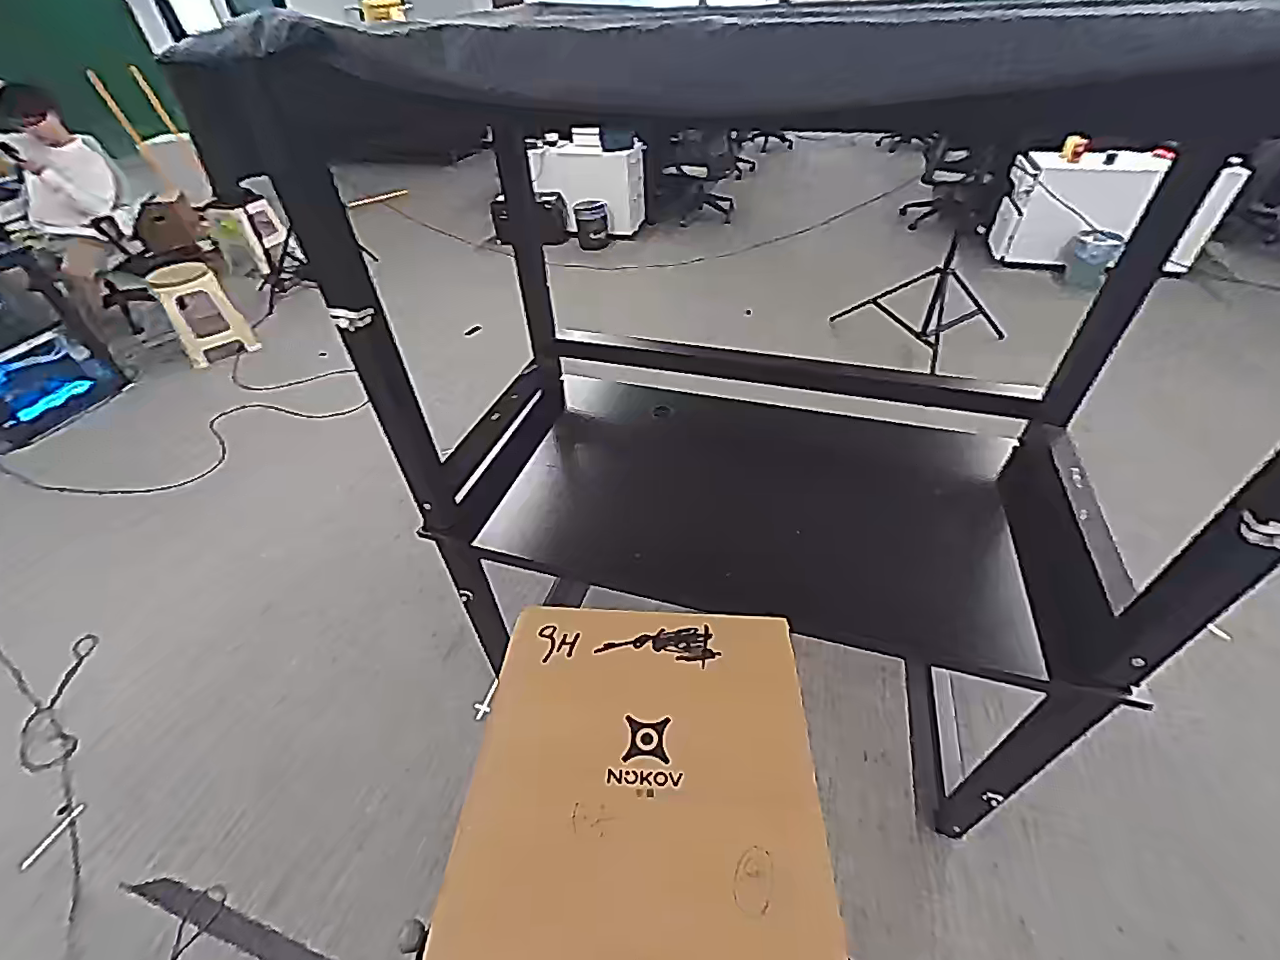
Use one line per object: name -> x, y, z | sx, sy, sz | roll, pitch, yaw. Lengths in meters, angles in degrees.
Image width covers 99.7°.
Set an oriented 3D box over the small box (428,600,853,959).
small box -> 0.005, 0.194, 0.312 | 0.168, 0.176, 0.179 | 3, 41, 2
